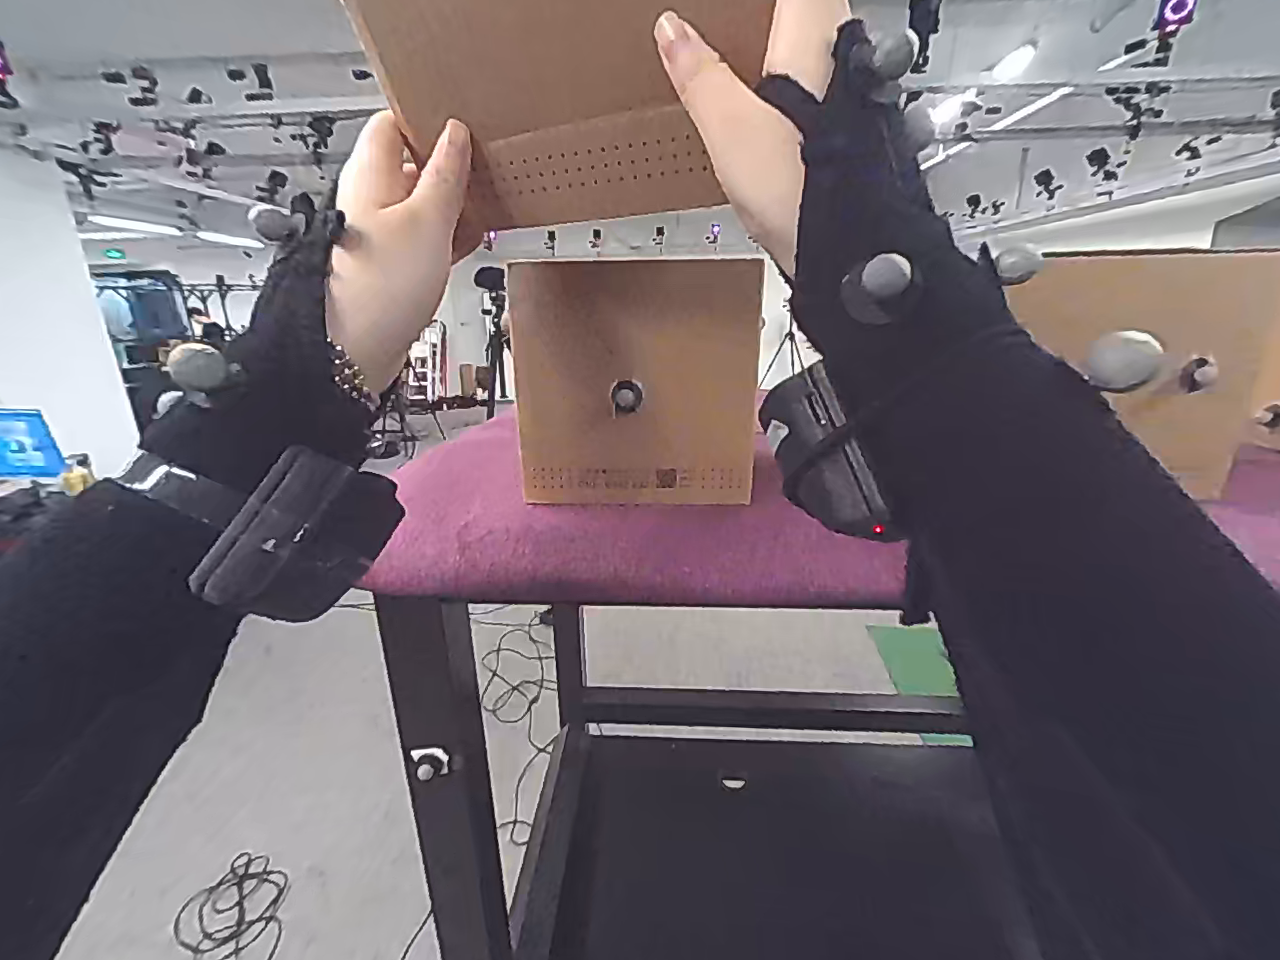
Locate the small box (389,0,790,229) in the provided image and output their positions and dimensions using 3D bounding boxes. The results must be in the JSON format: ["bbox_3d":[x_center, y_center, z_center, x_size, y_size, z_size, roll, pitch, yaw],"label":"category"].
[{"bbox_3d":[-0.015,-0.244,0.276,0.179,0.176,0.168,0,47,13],"label":"small box"}]

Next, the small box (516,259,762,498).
[{"bbox_3d":[0.003,-0.088,0.454,0.168,0.176,0.179,1,17,2],"label":"small box"}]

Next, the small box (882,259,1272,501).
[{"bbox_3d":[0.324,-0.085,0.448,0.179,0.176,0.168,-1,17,2],"label":"small box"}]
